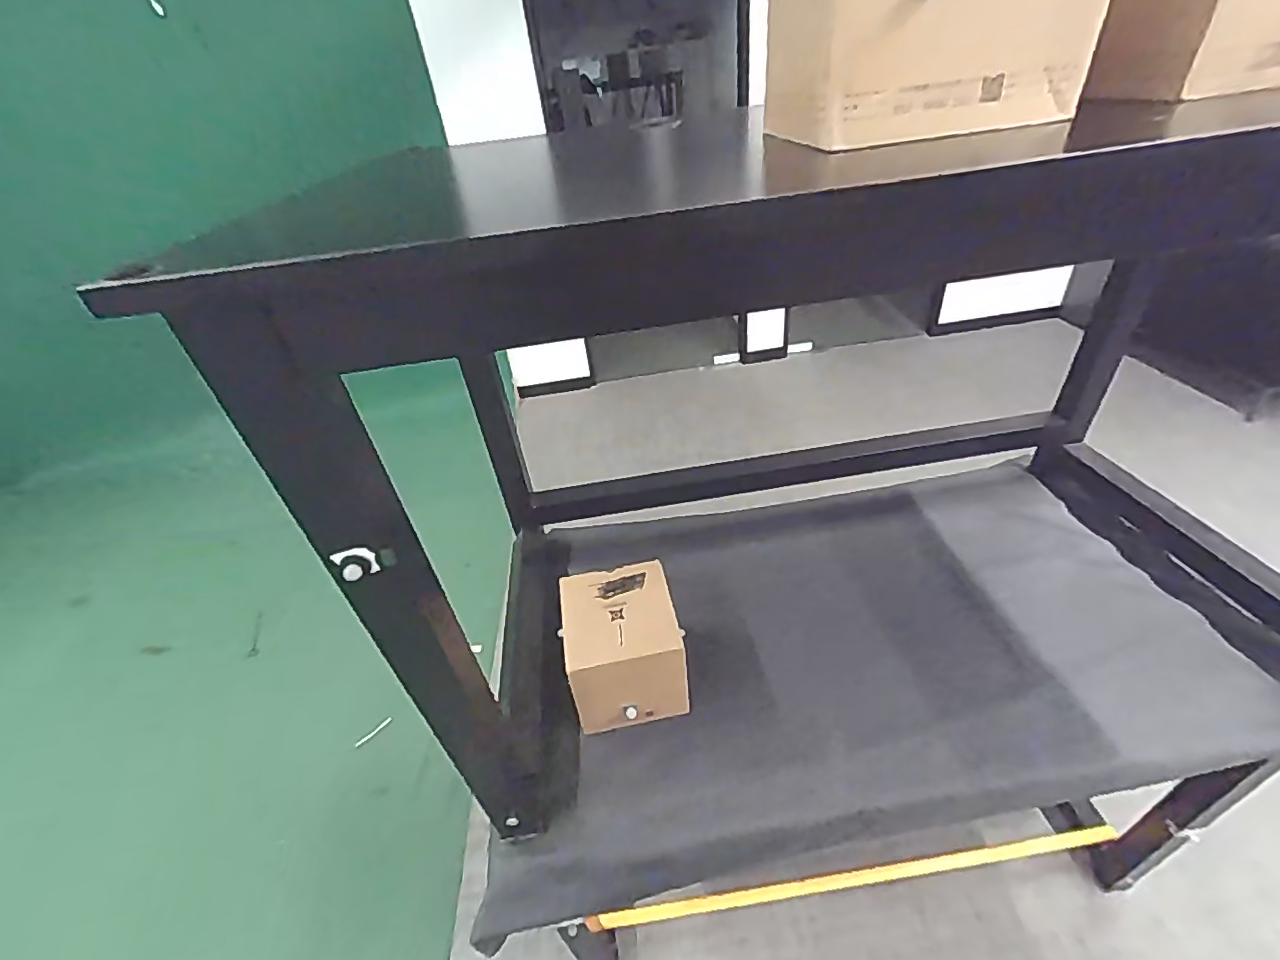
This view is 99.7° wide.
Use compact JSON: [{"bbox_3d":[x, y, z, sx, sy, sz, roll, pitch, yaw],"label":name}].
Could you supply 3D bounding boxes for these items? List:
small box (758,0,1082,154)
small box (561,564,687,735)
[{"bbox_3d":[0.183,-0.338,0.379,0.168,0.176,0.179,-8,36,1],"label":"small box"},{"bbox_3d":[-0.026,0.261,0.841,0.168,0.176,0.179,-11,37,-4],"label":"small box"}]
